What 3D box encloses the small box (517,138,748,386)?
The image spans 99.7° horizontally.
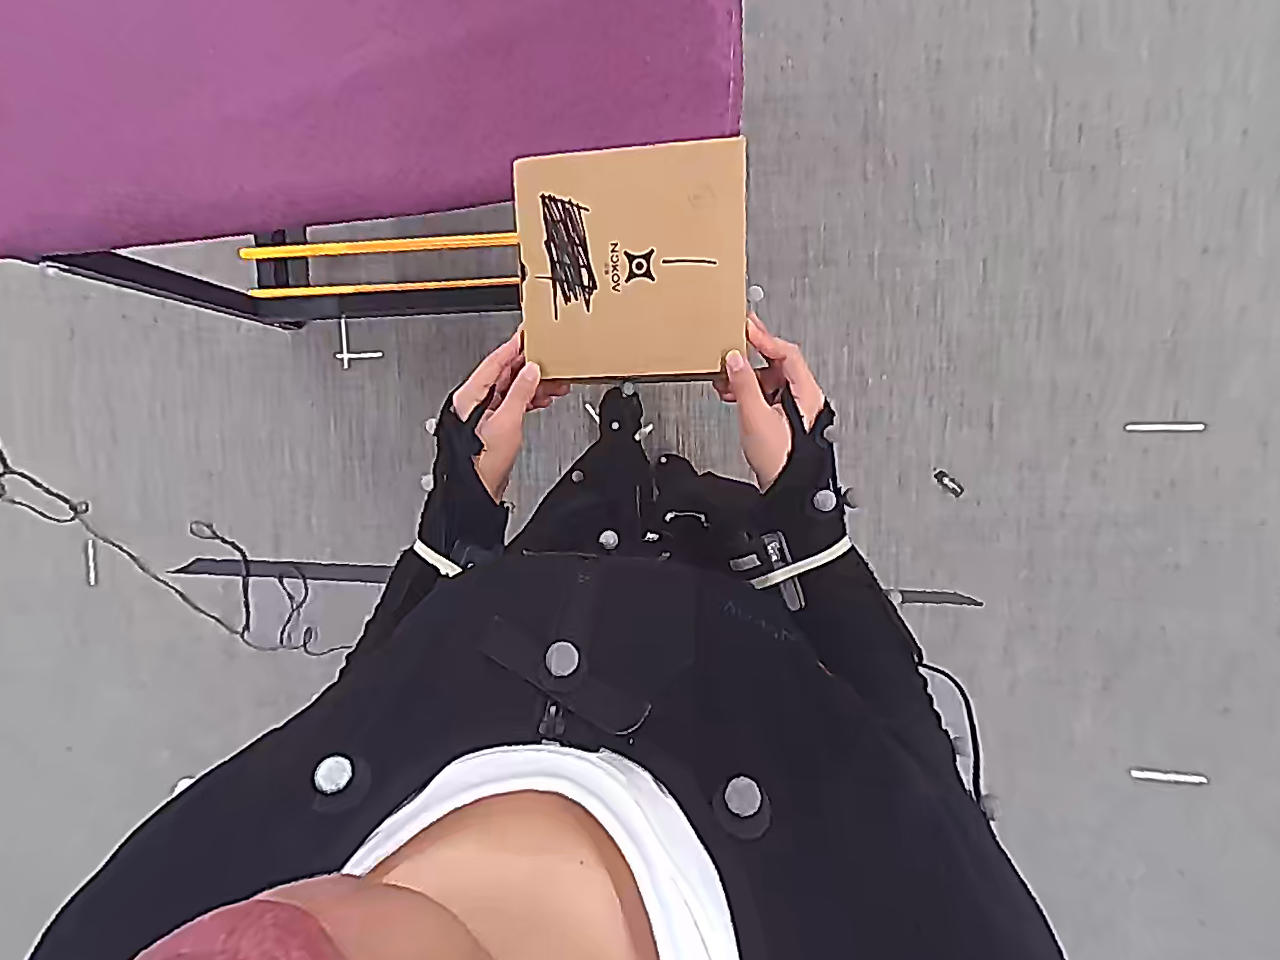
[{"bbox_3d":[0.006,-0.172,0.484,0.179,0.176,0.168,0,98,9],"label":"small box"}]
